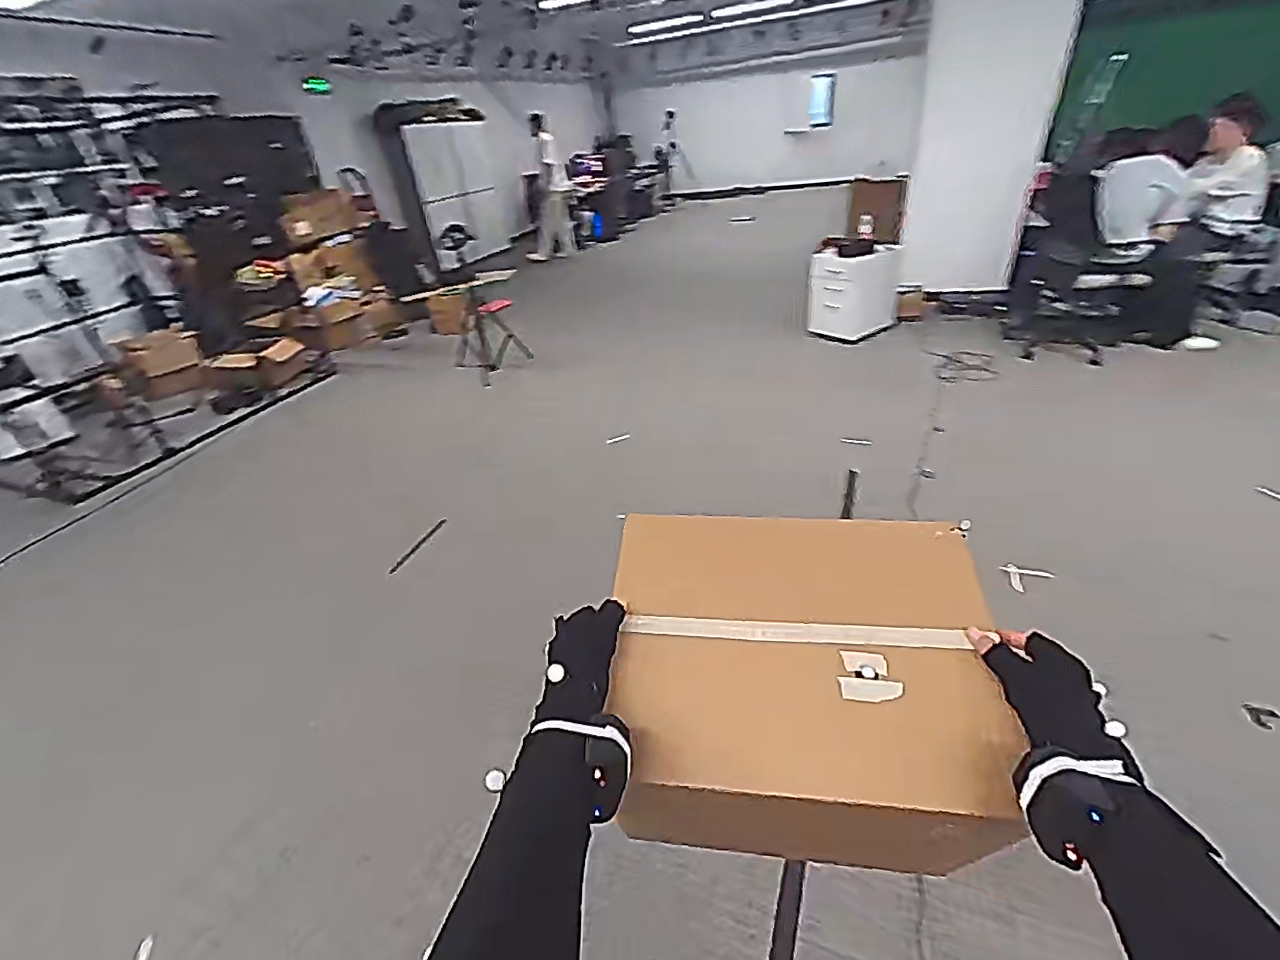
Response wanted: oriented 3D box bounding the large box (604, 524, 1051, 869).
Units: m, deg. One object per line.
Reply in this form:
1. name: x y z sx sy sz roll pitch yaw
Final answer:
1. large box: 0.189 0.273 0.697 0.408 0.320 0.320 1 48 9
